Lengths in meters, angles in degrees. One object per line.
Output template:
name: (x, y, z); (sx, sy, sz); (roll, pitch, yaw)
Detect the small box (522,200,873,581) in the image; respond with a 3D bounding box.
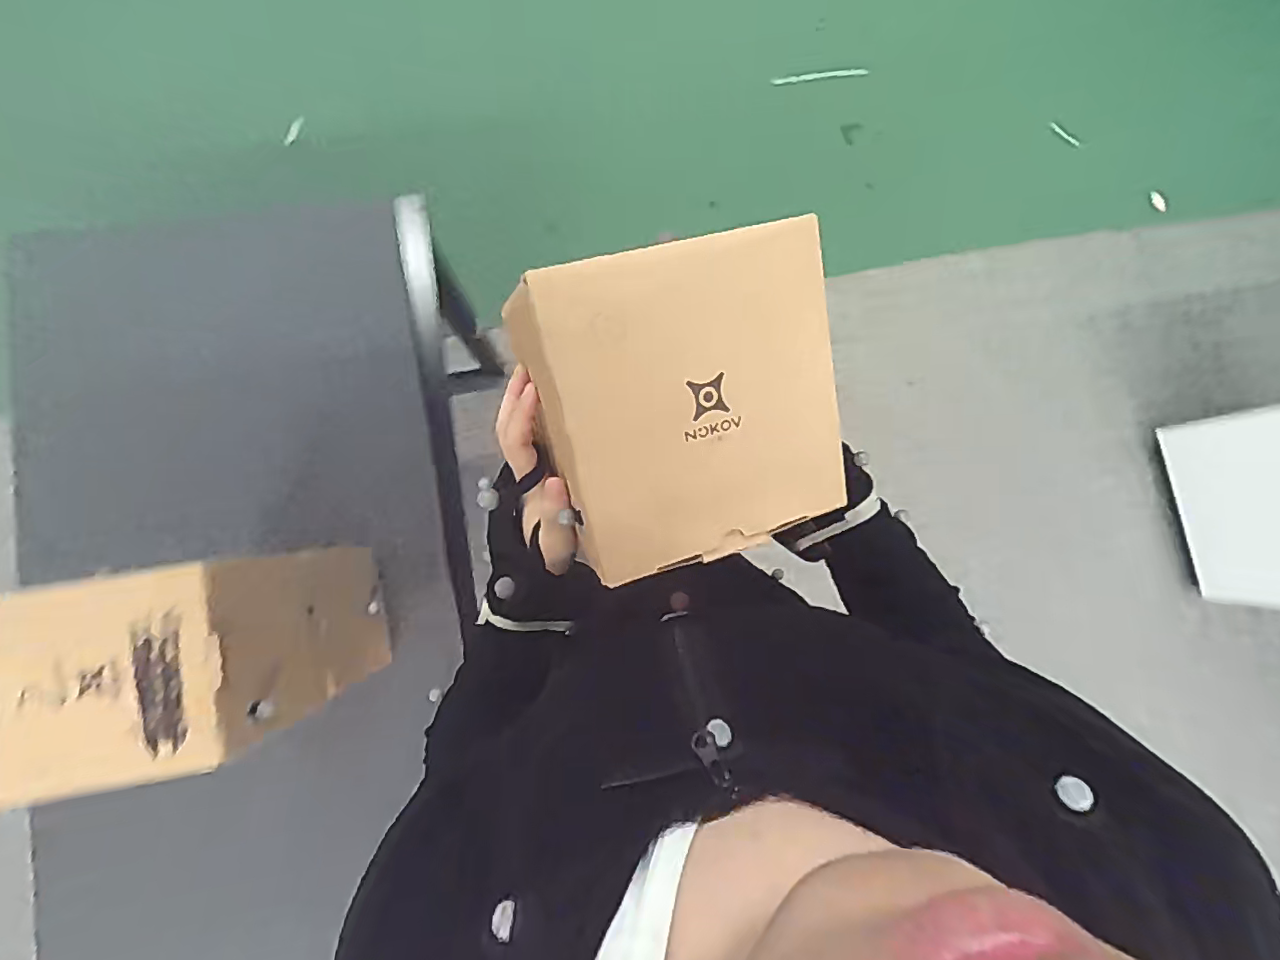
small box: (0.025, -0.062, 0.364); (0.168, 0.176, 0.179); (-16, 106, -13)

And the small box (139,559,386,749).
small box: (-0.440, 0.195, 0.656); (0.179, 0.176, 0.168); (-13, 84, -5)
